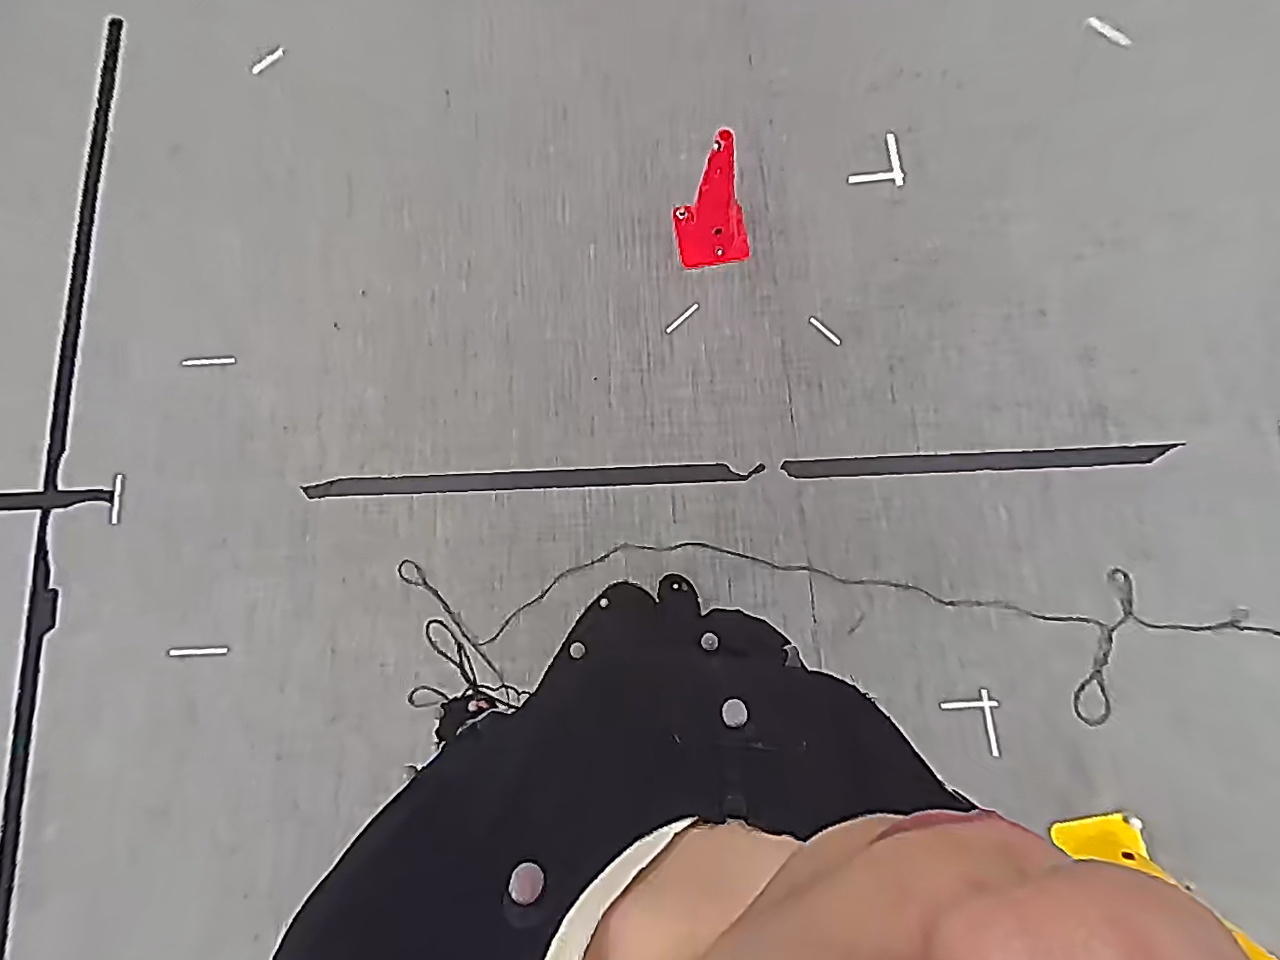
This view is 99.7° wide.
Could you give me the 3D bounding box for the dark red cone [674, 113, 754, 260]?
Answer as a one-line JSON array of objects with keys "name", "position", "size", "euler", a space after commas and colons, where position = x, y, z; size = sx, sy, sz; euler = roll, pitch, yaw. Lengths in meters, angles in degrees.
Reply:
[{"name": "dark red cone", "position": [0.198, -0.739, 1.345], "size": [0.202, 0.394, 0.201], "euler": [-11, 81, 0]}]
